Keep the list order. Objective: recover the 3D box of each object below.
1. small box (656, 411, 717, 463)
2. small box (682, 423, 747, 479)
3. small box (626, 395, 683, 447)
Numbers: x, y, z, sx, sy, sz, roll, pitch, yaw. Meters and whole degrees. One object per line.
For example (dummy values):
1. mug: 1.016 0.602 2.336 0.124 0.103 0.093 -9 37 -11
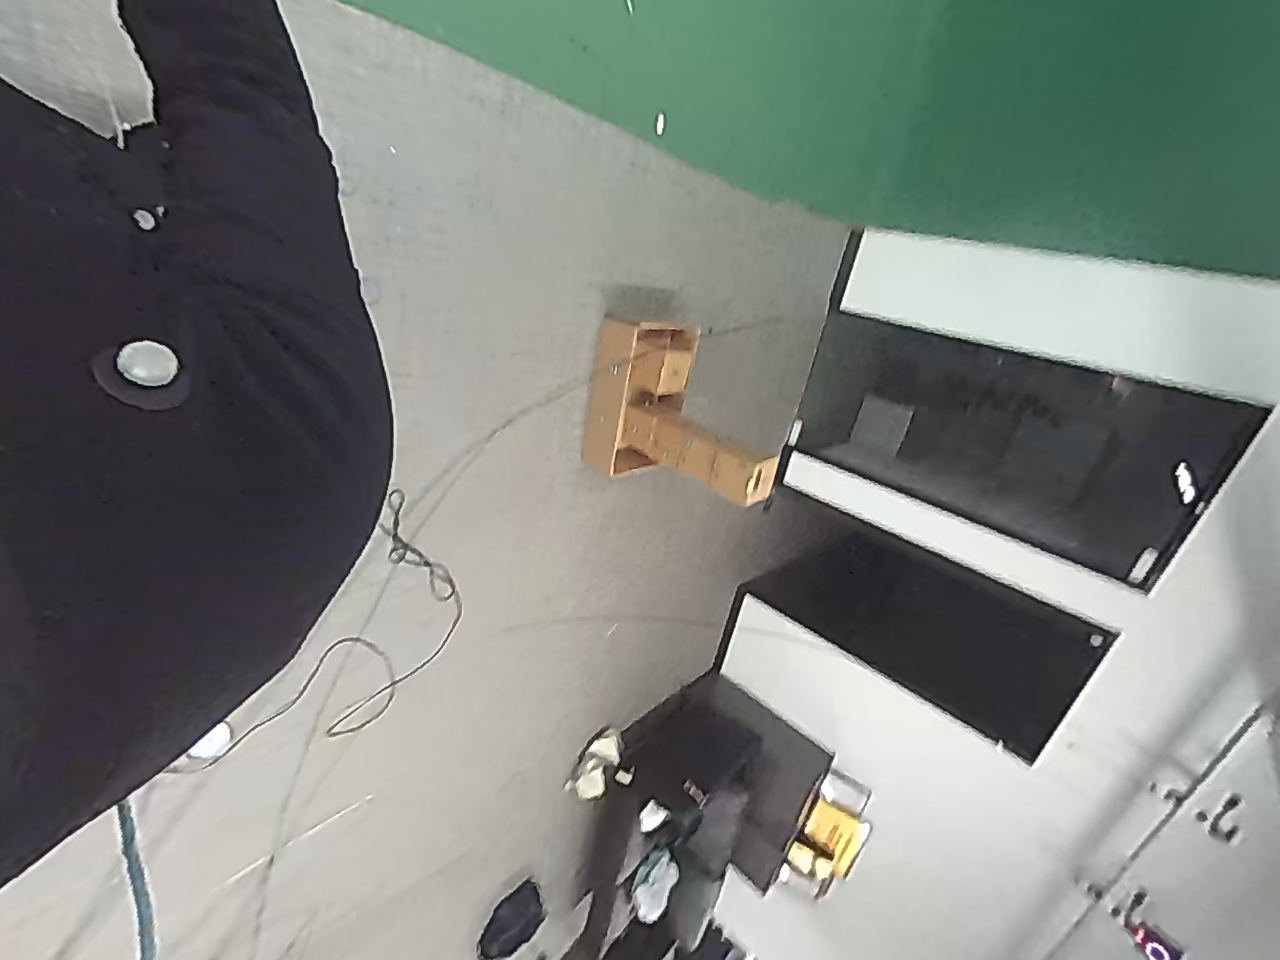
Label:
1. small box: 0.187 -0.176 2.219 0.179 0.176 0.168 -16 124 -46
2. small box: 0.289 -0.120 2.130 0.179 0.176 0.168 -15 125 -47
3. small box: 0.057 -0.257 2.316 0.179 0.176 0.168 -21 127 -44
